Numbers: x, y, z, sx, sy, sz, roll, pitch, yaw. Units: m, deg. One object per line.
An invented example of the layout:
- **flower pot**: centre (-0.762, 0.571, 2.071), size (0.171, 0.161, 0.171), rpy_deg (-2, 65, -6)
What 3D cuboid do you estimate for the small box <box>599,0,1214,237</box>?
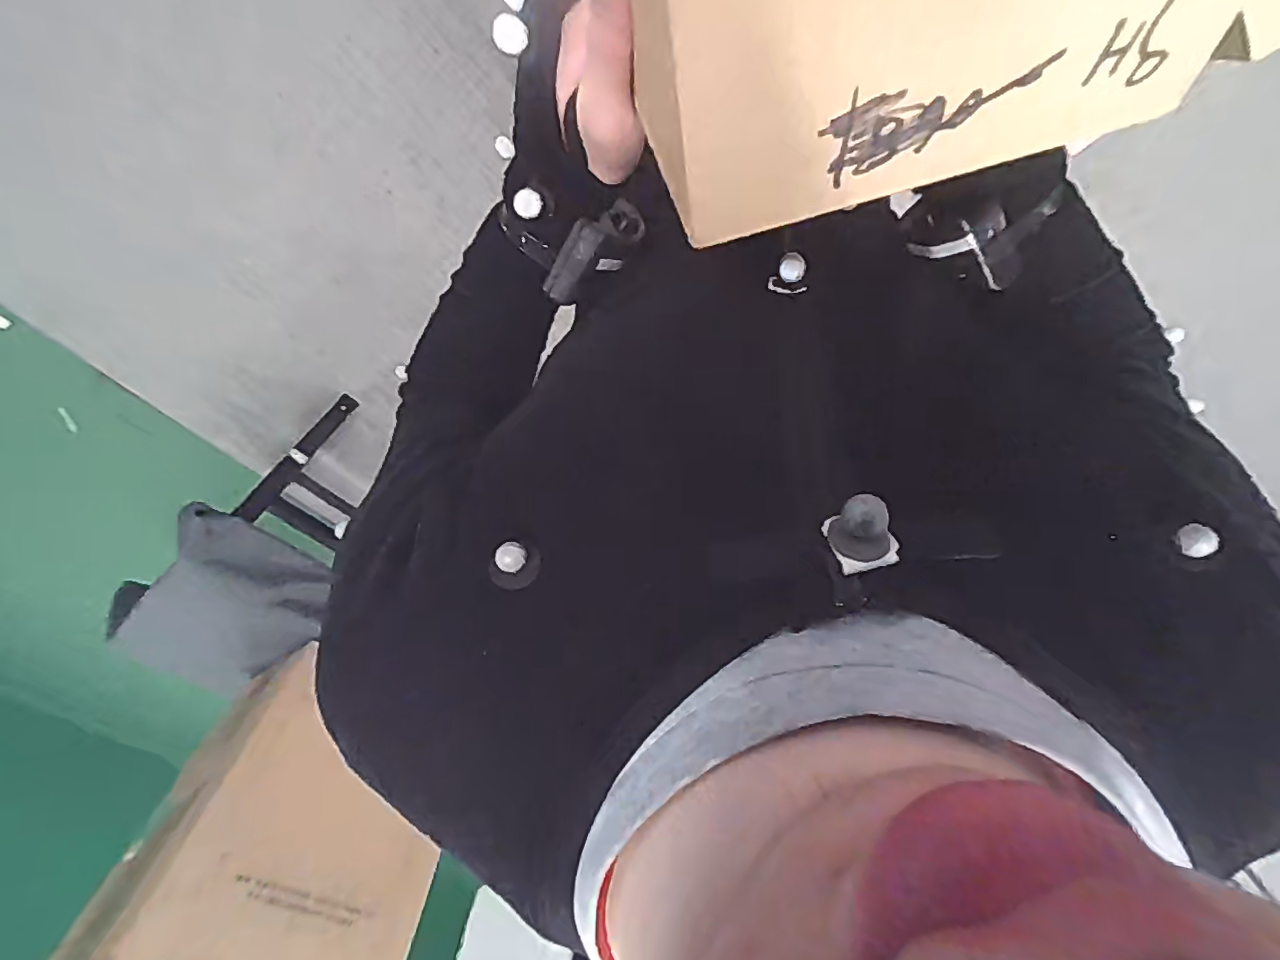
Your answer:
- **small box**: centre (0.061, -0.214, 0.161), size (0.168, 0.176, 0.179), rpy_deg (-13, 145, 4)
